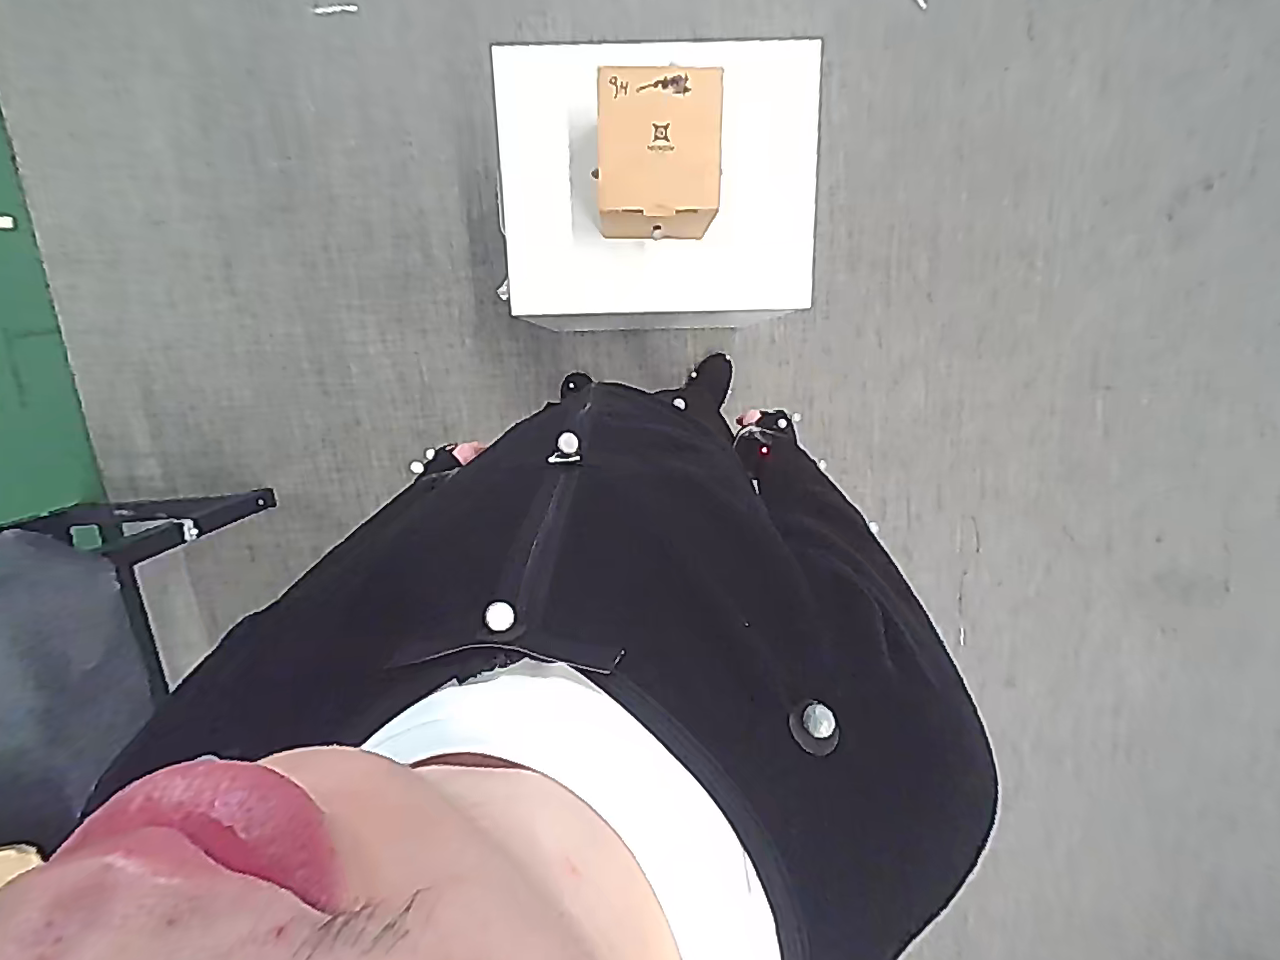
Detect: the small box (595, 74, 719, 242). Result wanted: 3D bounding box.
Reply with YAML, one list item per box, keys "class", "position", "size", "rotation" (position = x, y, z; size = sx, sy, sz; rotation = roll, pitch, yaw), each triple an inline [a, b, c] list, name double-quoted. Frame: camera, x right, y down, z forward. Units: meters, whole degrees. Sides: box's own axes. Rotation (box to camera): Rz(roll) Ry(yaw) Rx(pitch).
- class: "small box"
  position: [0.024, -0.458, 0.798]
  size: [0.168, 0.176, 0.179]
  rotation: [-2, 101, 0]
